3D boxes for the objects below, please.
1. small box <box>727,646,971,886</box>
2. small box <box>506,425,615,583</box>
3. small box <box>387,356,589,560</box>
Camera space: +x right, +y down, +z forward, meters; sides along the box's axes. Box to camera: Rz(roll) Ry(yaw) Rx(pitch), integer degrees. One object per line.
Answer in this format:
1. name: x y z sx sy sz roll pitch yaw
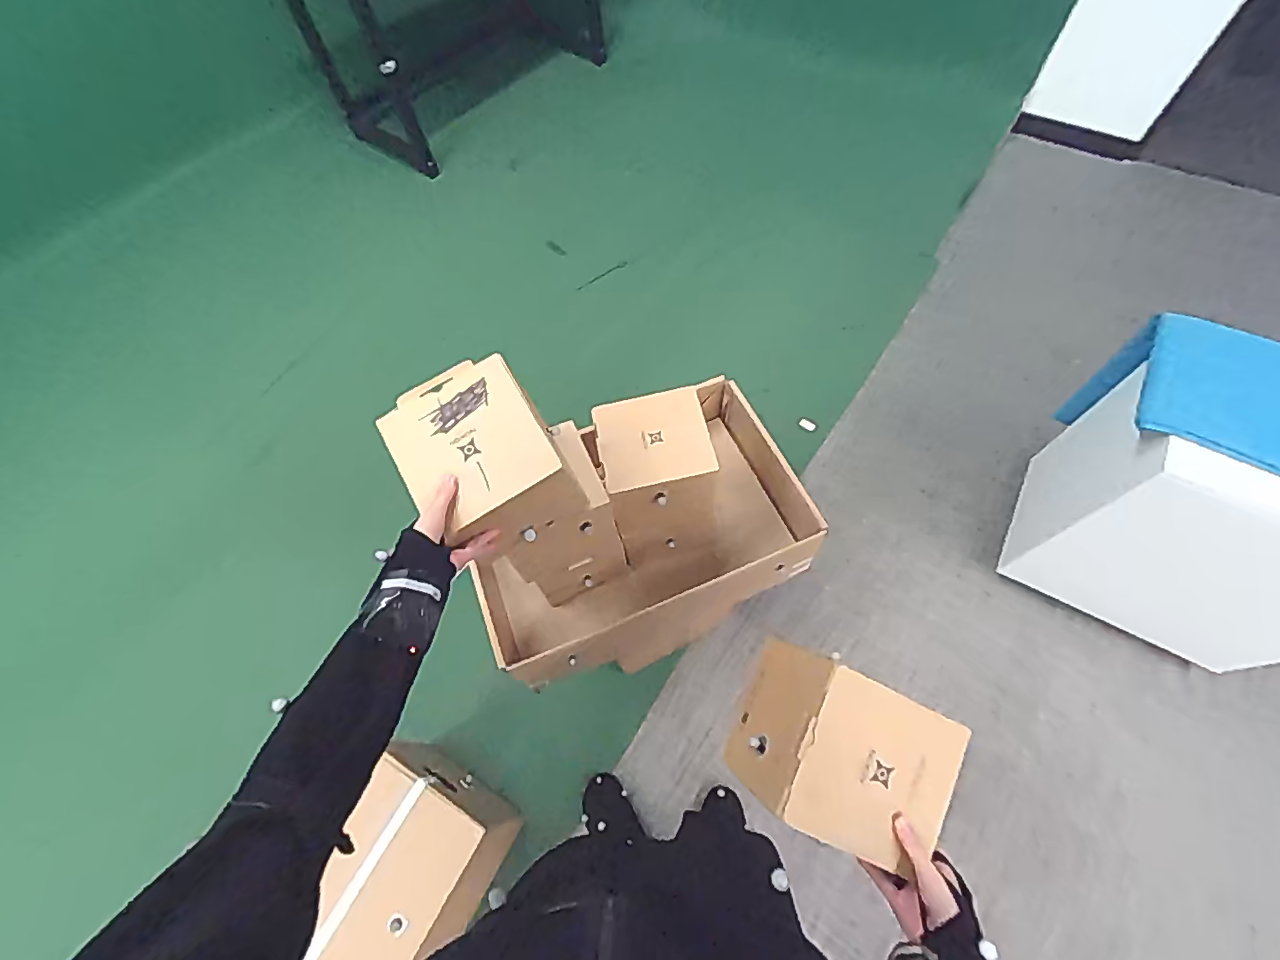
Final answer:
1. small box: 0.226 0.308 0.625 0.179 0.176 0.168 29 78 -6
2. small box: -0.147 0.044 0.889 0.179 0.176 0.168 -22 61 -8
3. small box: -0.185 -0.018 0.701 0.168 0.176 0.179 -31 71 -5
